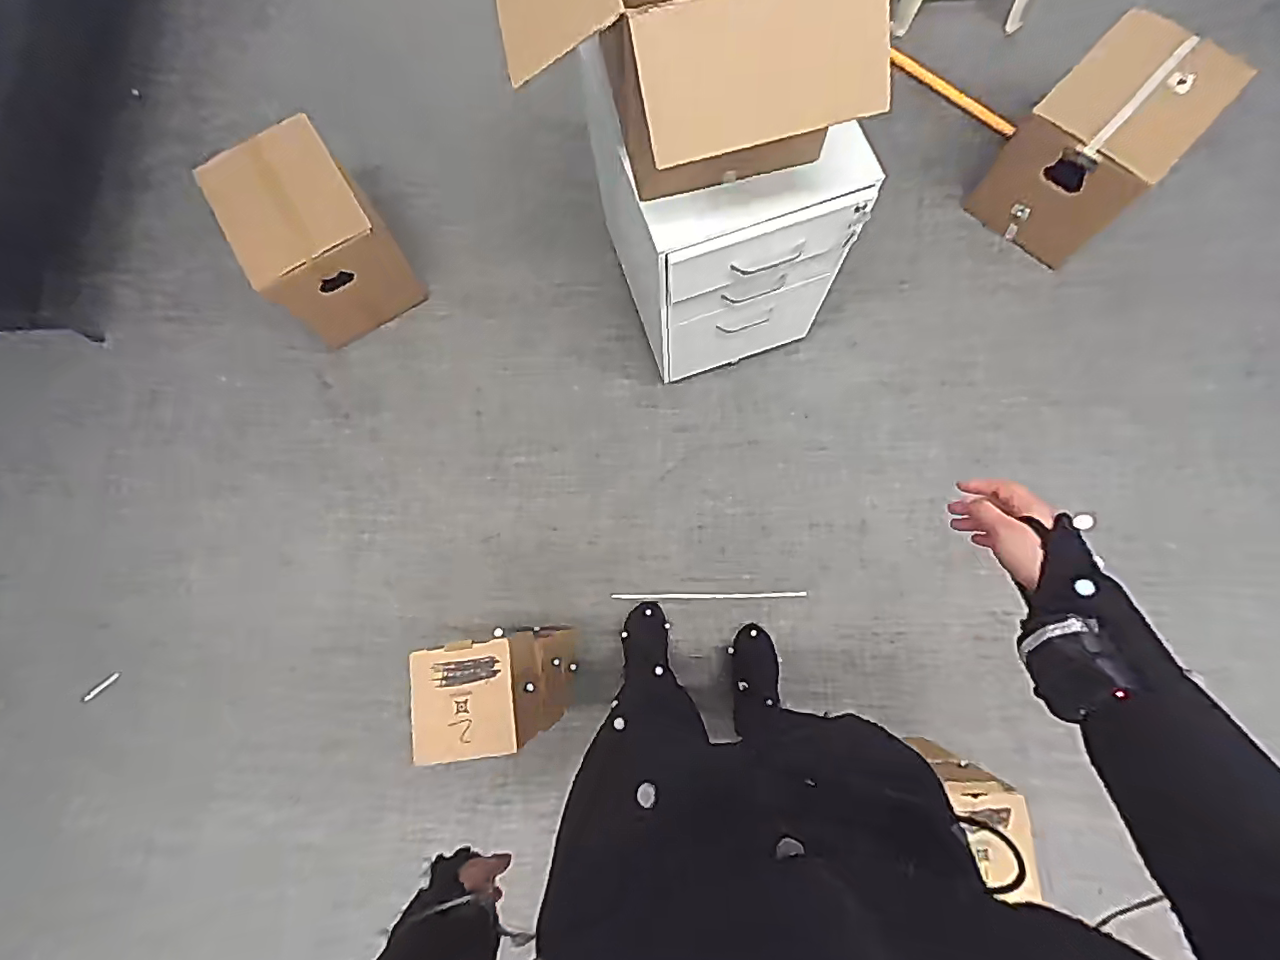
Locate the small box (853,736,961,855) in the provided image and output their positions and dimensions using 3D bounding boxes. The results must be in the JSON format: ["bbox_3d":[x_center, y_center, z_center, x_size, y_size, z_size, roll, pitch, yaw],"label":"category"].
[{"bbox_3d":[0.569,0.661,1.149,0.168,0.176,0.179,-4,78,3],"label":"small box"}]

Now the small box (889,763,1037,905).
[{"bbox_3d":[0.574,0.631,0.986,0.168,0.176,0.179,-3,79,4],"label":"small box"}]

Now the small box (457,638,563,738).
[{"bbox_3d":[-0.257,0.415,1.102,0.179,0.176,0.168,-6,76,4],"label":"small box"}]

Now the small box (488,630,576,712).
[{"bbox_3d":[-0.246,0.441,1.263,0.179,0.176,0.168,-3,77,3],"label":"small box"}]
